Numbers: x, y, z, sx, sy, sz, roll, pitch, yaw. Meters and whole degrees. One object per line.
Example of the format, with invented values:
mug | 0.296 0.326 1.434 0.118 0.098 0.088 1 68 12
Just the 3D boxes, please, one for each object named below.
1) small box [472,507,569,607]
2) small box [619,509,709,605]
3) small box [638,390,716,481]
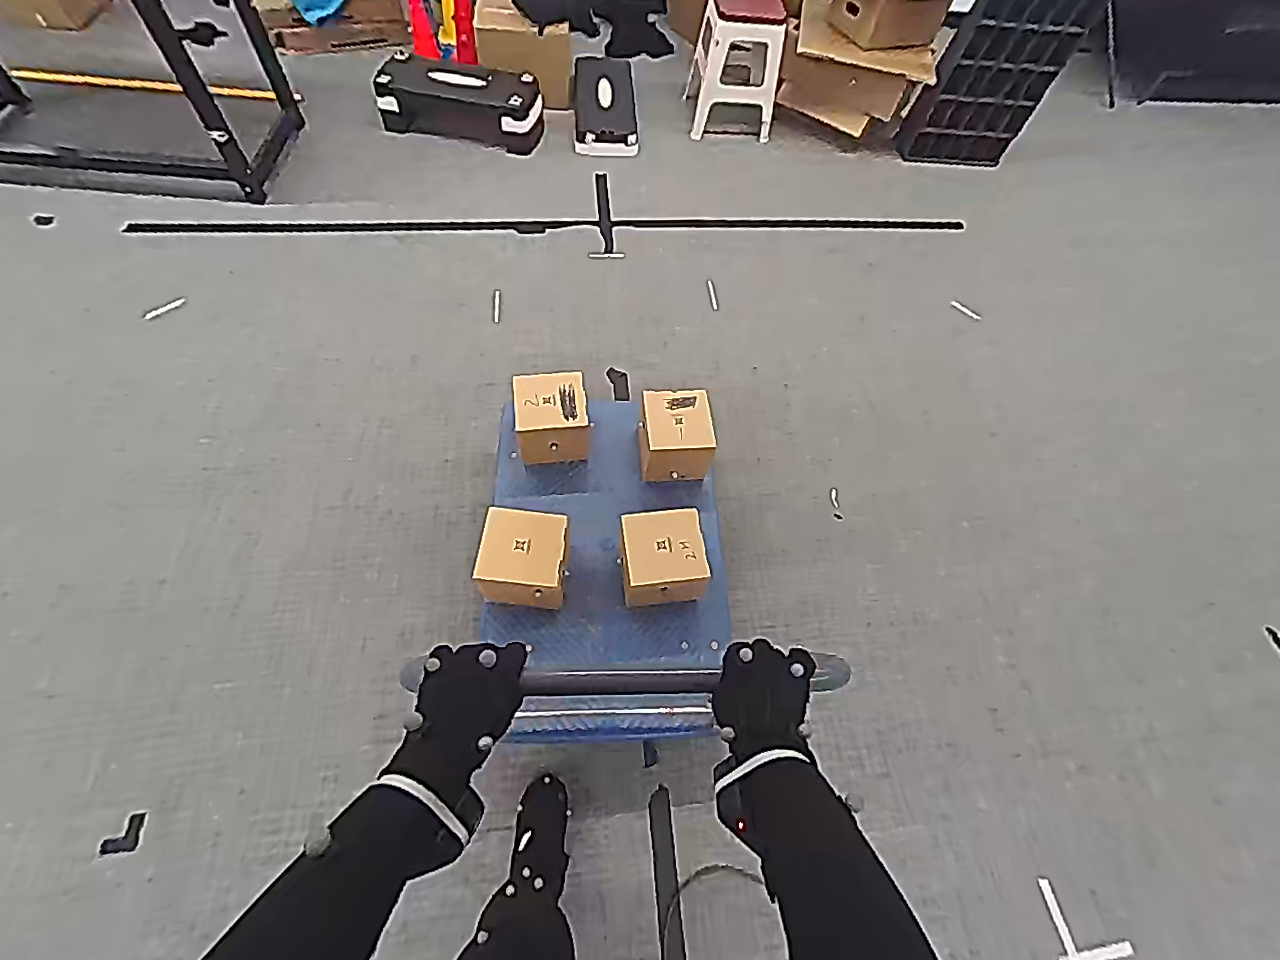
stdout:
small box | -0.258 0.177 1.207 0.179 0.176 0.168 7 61 -3
small box | 0.046 0.180 1.234 0.179 0.176 0.168 -5 62 -8
small box | 0.088 -0.113 1.396 0.168 0.176 0.179 -3 63 -7
